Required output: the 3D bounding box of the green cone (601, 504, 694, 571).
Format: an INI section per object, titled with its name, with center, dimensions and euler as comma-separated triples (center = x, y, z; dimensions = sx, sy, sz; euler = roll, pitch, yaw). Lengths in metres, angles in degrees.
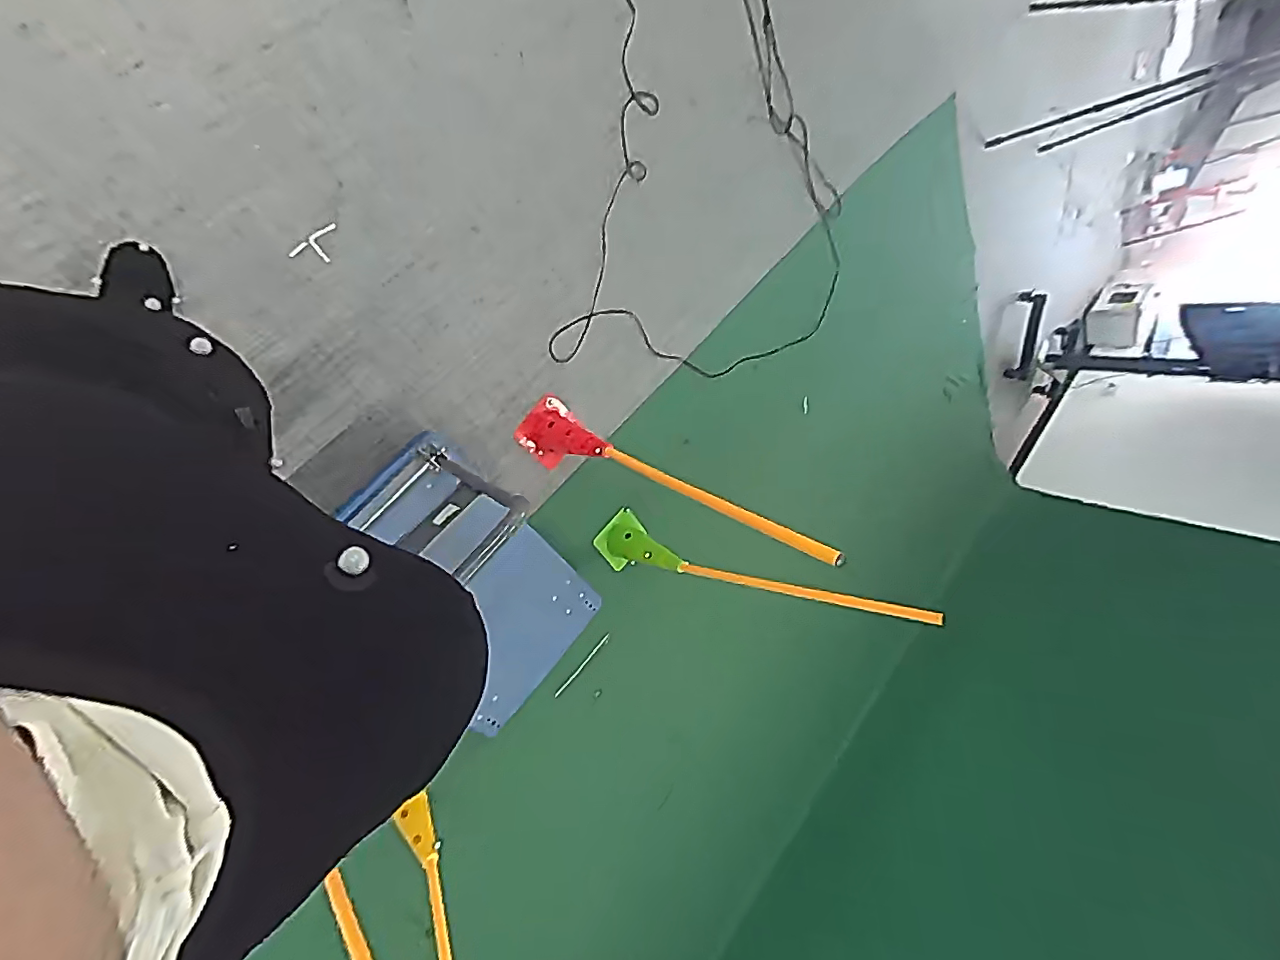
[green cone]
center = 0.057, 0.255, 1.990
dimensions = 0.200, 0.368, 0.202
euler = -48, 128, -18
